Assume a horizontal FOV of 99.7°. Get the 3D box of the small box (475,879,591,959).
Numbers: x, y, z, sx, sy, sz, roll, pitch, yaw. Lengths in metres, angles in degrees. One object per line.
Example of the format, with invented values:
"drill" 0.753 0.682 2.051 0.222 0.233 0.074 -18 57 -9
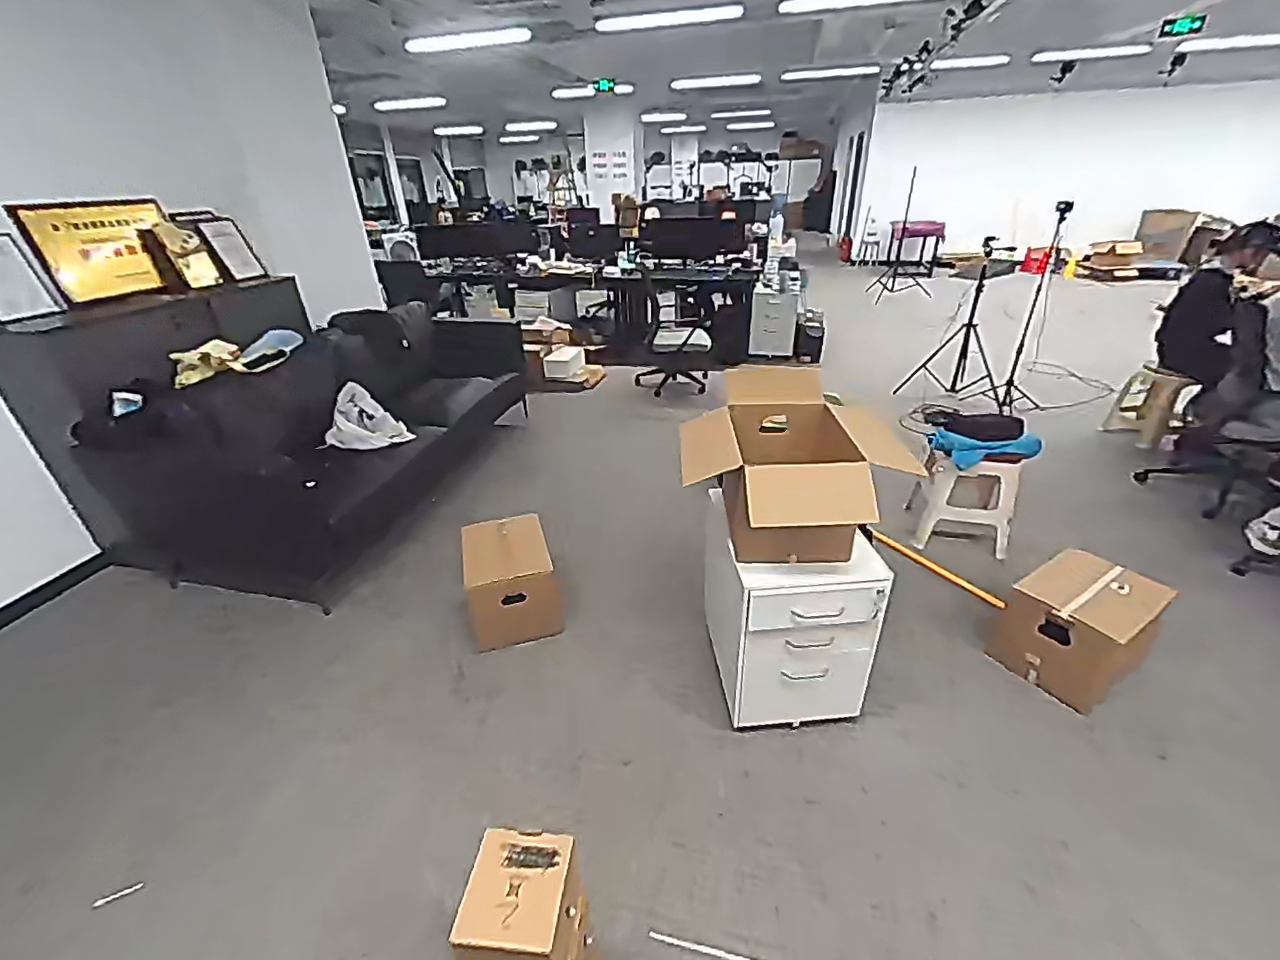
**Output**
"small box" -0.198 0.905 1.029 0.179 0.176 0.168 1 28 10
